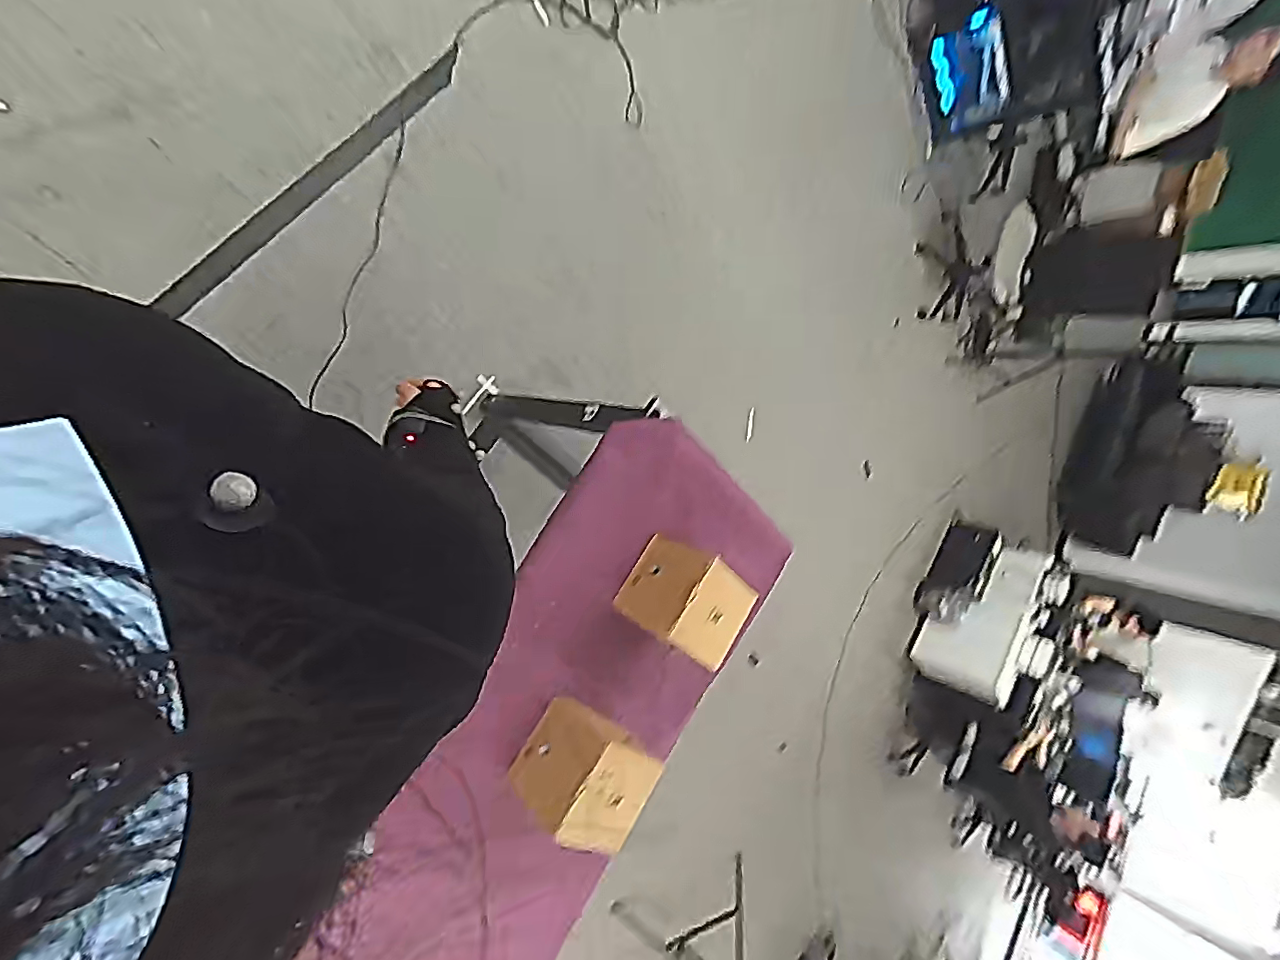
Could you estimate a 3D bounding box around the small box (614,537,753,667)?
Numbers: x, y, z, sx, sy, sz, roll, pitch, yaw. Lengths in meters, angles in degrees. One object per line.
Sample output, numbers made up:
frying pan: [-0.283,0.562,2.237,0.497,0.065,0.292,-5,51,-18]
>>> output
small box: [0.085,0.233,1.068,0.179,0.176,0.168,44,72,-37]

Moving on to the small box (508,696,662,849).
small box: [-0.100,0.520,0.975,0.179,0.176,0.168,45,70,-38]
